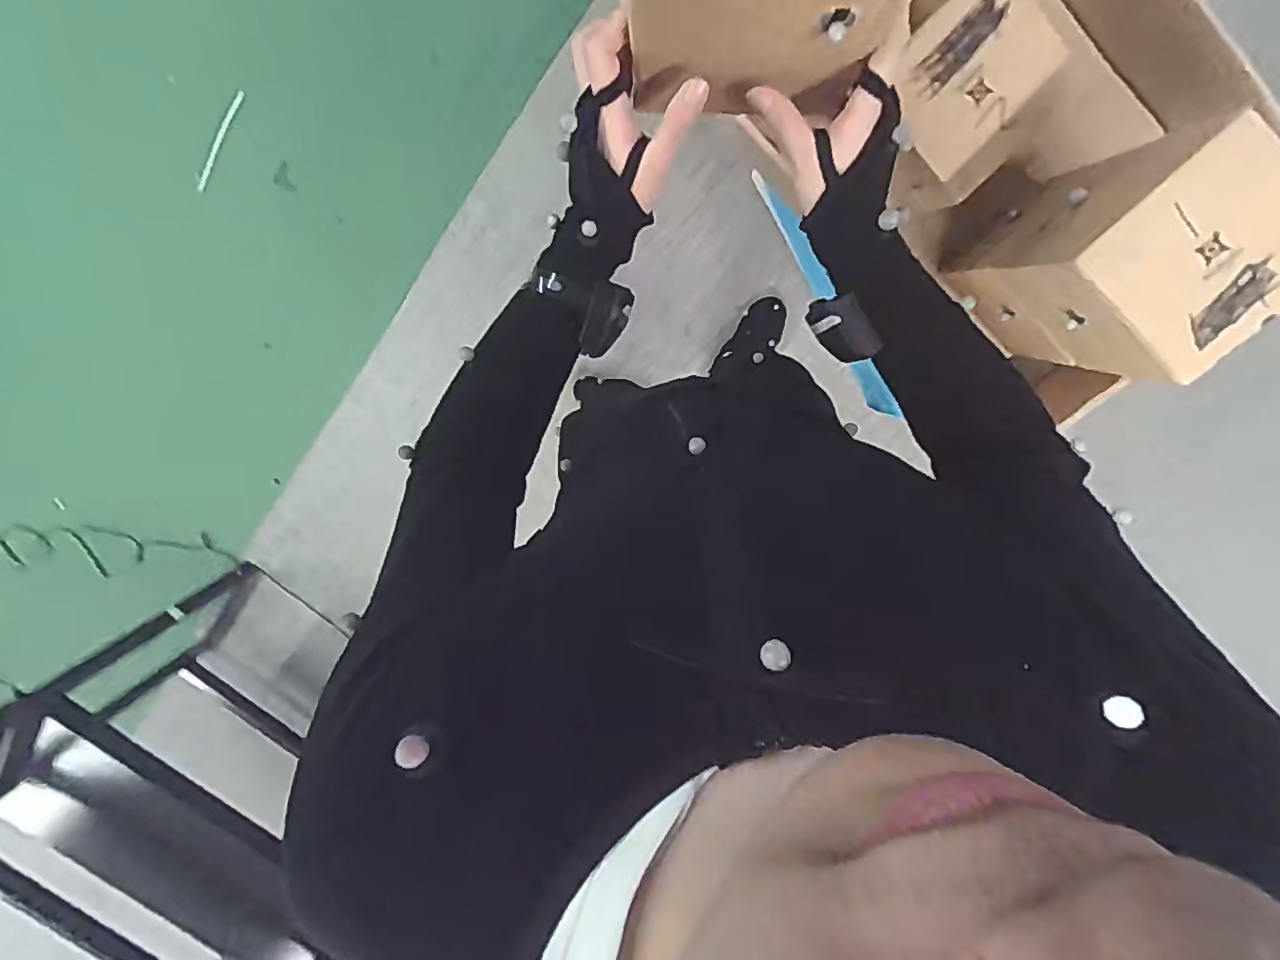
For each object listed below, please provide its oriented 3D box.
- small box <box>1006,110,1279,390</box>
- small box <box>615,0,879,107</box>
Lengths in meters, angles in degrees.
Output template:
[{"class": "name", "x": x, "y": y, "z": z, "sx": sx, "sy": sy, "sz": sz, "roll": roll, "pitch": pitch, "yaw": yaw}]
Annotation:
[{"class": "small box", "x": 0.535, "y": -0.222, "z": 0.555, "sx": 0.179, "sy": 0.176, "sz": 0.168, "roll": 43, "pitch": 109, "yaw": -6}, {"class": "small box", "x": 0.070, "y": -0.378, "z": 0.361, "sx": 0.179, "sy": 0.176, "sz": 0.168, "roll": 1, "pitch": 101, "yaw": 0}]
